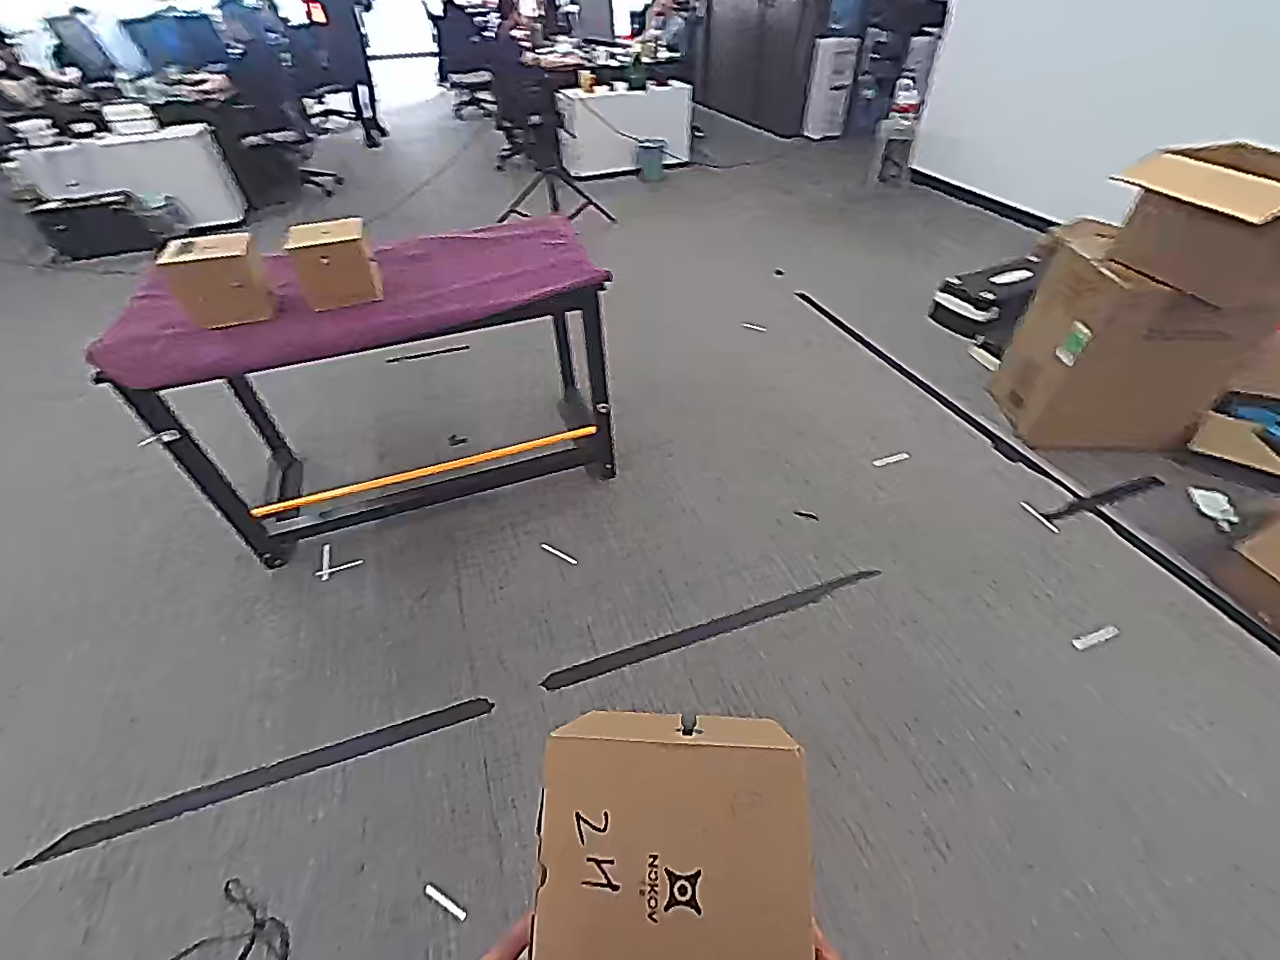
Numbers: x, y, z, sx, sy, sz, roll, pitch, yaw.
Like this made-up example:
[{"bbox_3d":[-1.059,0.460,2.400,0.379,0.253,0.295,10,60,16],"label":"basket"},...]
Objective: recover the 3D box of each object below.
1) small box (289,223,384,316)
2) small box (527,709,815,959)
[{"bbox_3d":[-0.797,-0.561,1.443,0.179,0.176,0.168,-16,45,-13],"label":"small box"},{"bbox_3d":[0.025,0.273,0.413,0.179,0.176,0.168,-1,72,6],"label":"small box"}]
